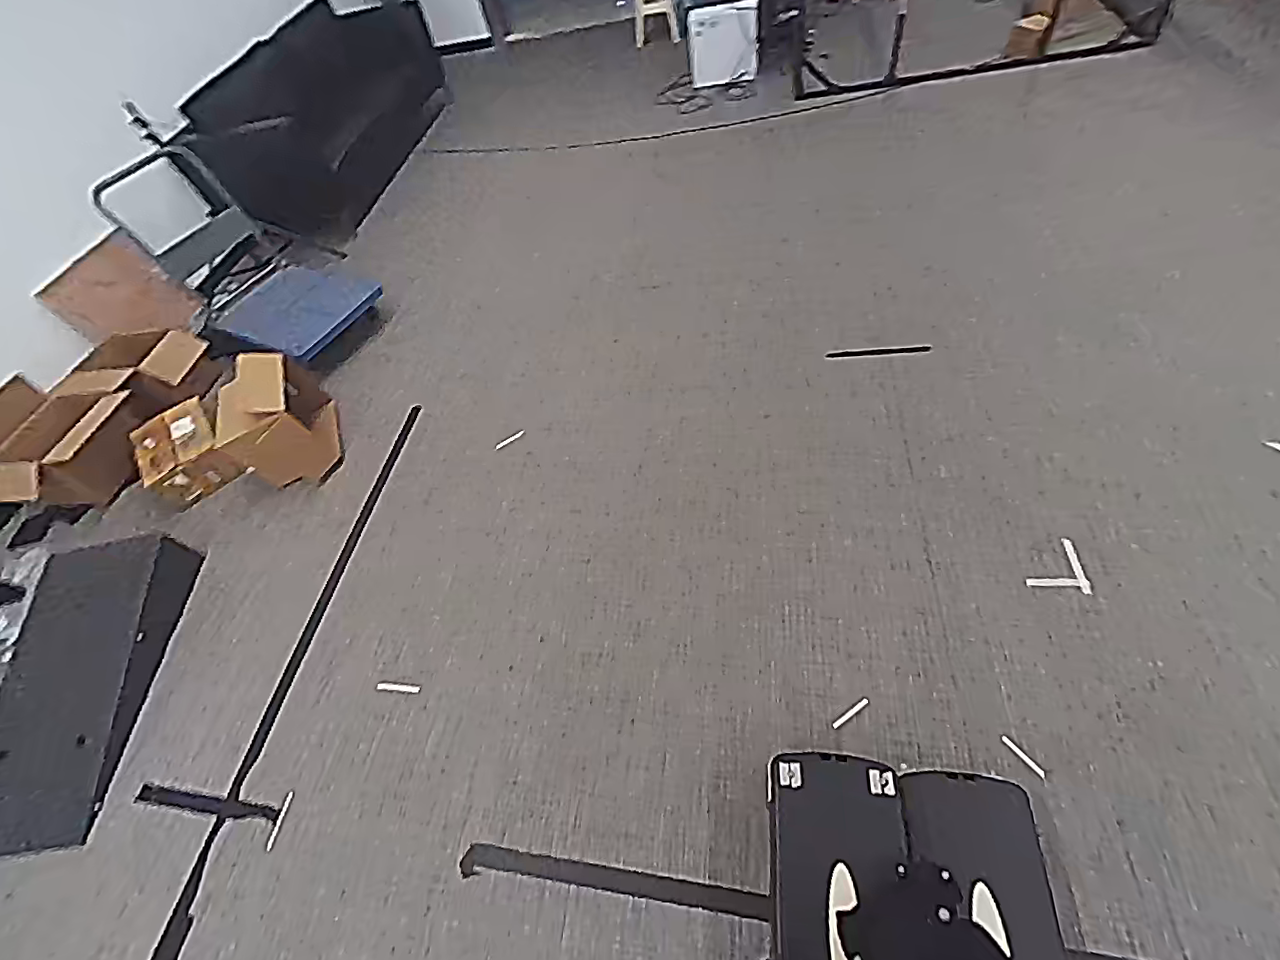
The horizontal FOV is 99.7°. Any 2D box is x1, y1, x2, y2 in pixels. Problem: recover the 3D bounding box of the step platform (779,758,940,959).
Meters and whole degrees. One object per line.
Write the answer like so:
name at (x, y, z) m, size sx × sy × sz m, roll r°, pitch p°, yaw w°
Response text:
step platform at (0.446, 0.955, 1.113) m, size 0.286 × 0.204 × 0.684 m, roll -1°, pitch 54°, yaw 12°
